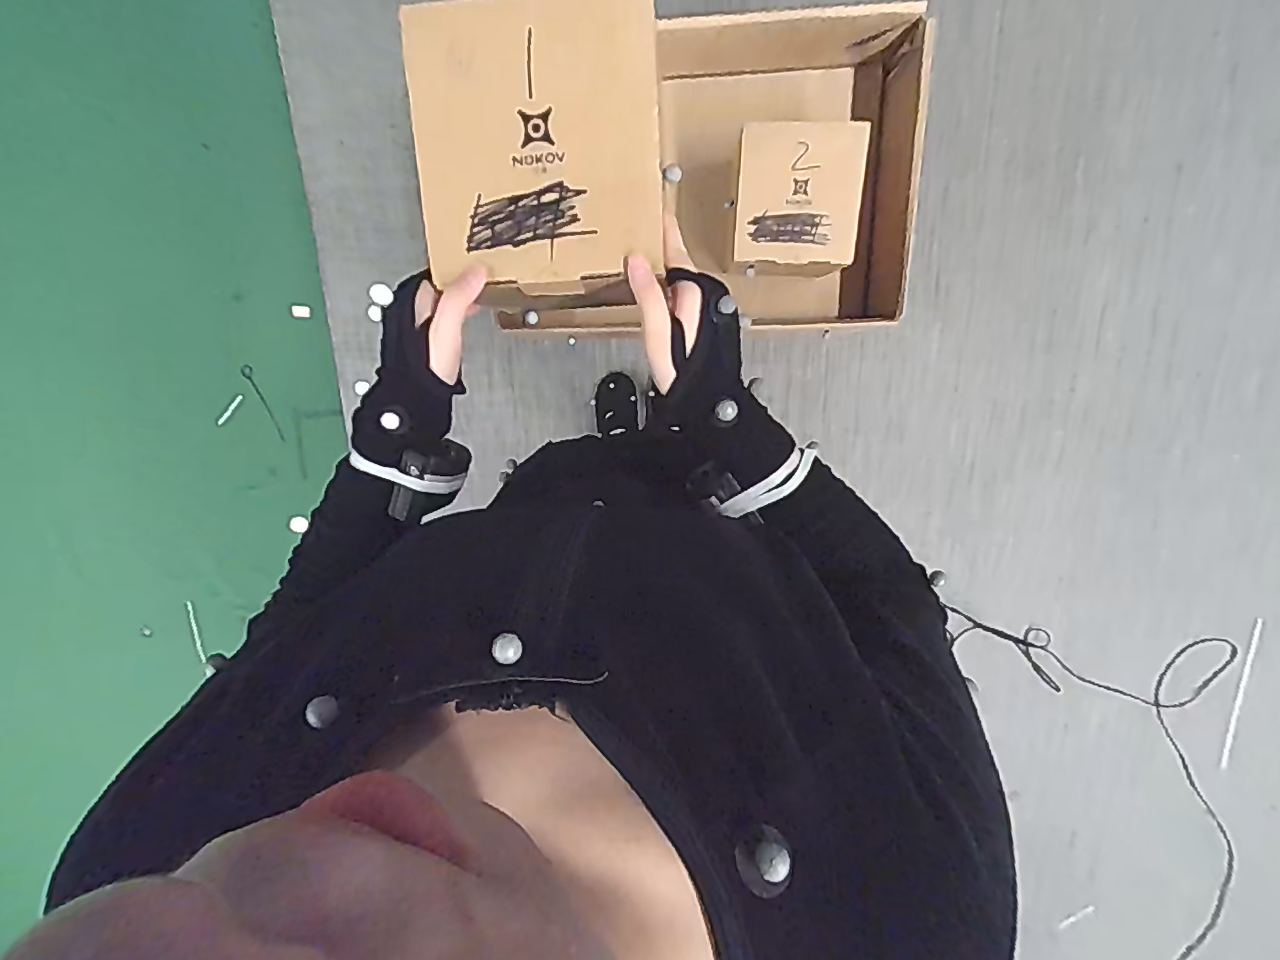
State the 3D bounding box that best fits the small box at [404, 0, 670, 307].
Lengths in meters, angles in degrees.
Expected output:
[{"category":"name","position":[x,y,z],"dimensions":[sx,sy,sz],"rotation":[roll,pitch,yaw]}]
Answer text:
[{"category":"small box","position":[-0.063,-0.239,0.440],"dimensions":[0.168,0.176,0.179],"rotation":[-2,101,5]}]
